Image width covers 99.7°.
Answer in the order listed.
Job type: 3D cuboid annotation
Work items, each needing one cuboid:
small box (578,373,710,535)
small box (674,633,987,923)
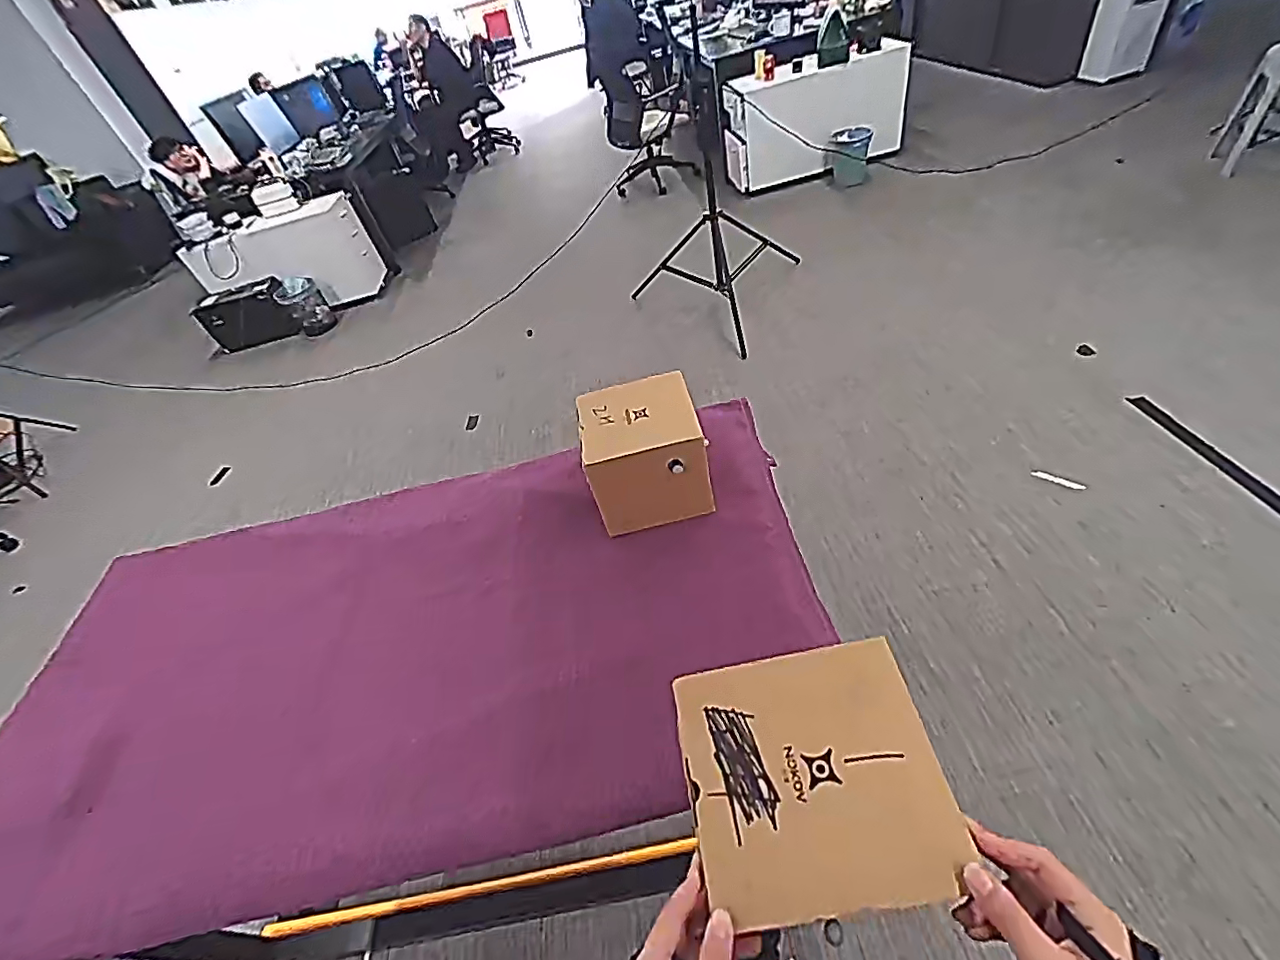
[{"bbox_3d":[0.010,-0.038,0.858,0.179,0.176,0.168,-14,45,3],"label":"small box"},{"bbox_3d":[0.139,0.251,0.446,0.179,0.176,0.168,-14,51,6],"label":"small box"}]
